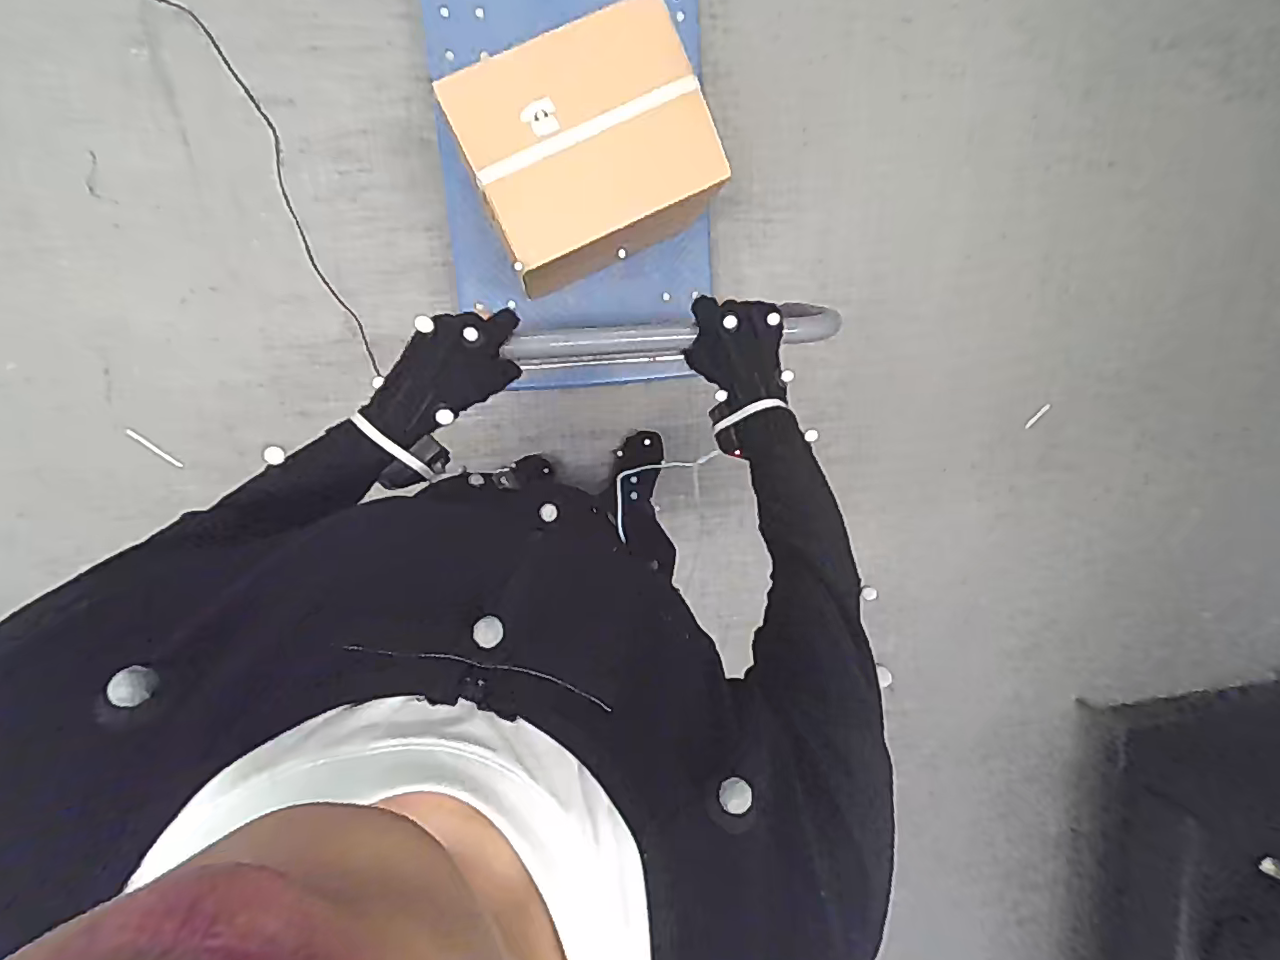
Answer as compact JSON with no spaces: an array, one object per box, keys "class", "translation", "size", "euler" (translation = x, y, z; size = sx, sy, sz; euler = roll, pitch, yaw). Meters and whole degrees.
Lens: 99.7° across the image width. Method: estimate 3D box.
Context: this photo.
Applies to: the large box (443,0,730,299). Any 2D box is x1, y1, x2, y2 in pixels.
[{"class":"large box","translation":[-0.099,-0.599,1.054],"size":[0.408,0.320,0.320],"euler":[-27,102,-3]}]
